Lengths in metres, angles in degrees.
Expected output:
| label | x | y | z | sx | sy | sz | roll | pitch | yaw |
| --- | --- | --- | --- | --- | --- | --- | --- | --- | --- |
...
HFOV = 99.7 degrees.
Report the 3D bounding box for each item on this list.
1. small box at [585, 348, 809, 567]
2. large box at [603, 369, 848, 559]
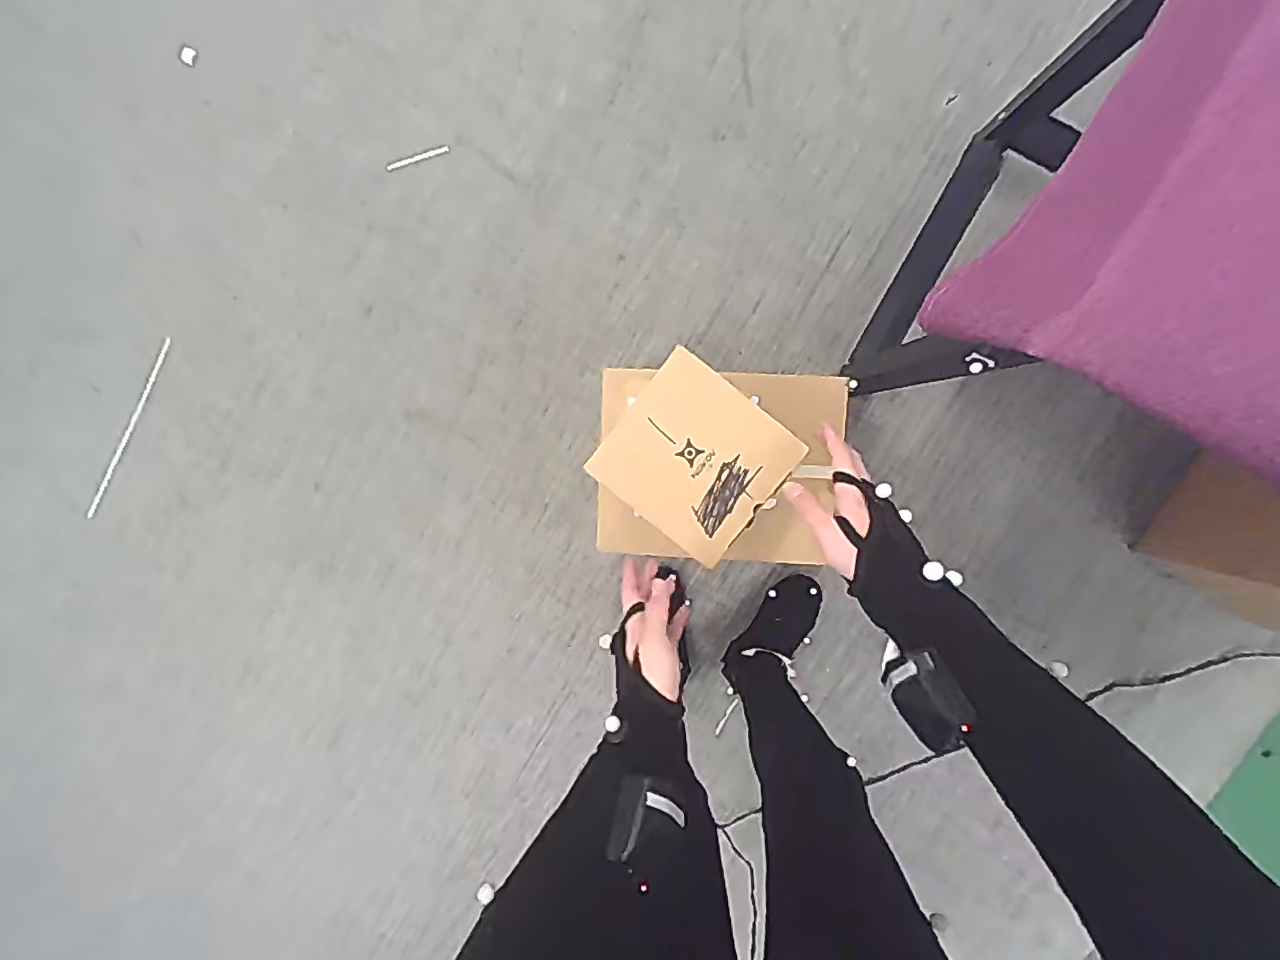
| label | x | y | z | sx | sy | sz | roll | pitch | yaw |
| --- | --- | --- | --- | --- | --- | --- | --- | --- | --- |
| small box | 0.064 | -0.029 | 0.639 | 0.179 | 0.176 | 0.168 | 39 | 95 | 1 |
| large box | 0.142 | -0.036 | 1.046 | 0.408 | 0.320 | 0.320 | 2 | 96 | 2 |
